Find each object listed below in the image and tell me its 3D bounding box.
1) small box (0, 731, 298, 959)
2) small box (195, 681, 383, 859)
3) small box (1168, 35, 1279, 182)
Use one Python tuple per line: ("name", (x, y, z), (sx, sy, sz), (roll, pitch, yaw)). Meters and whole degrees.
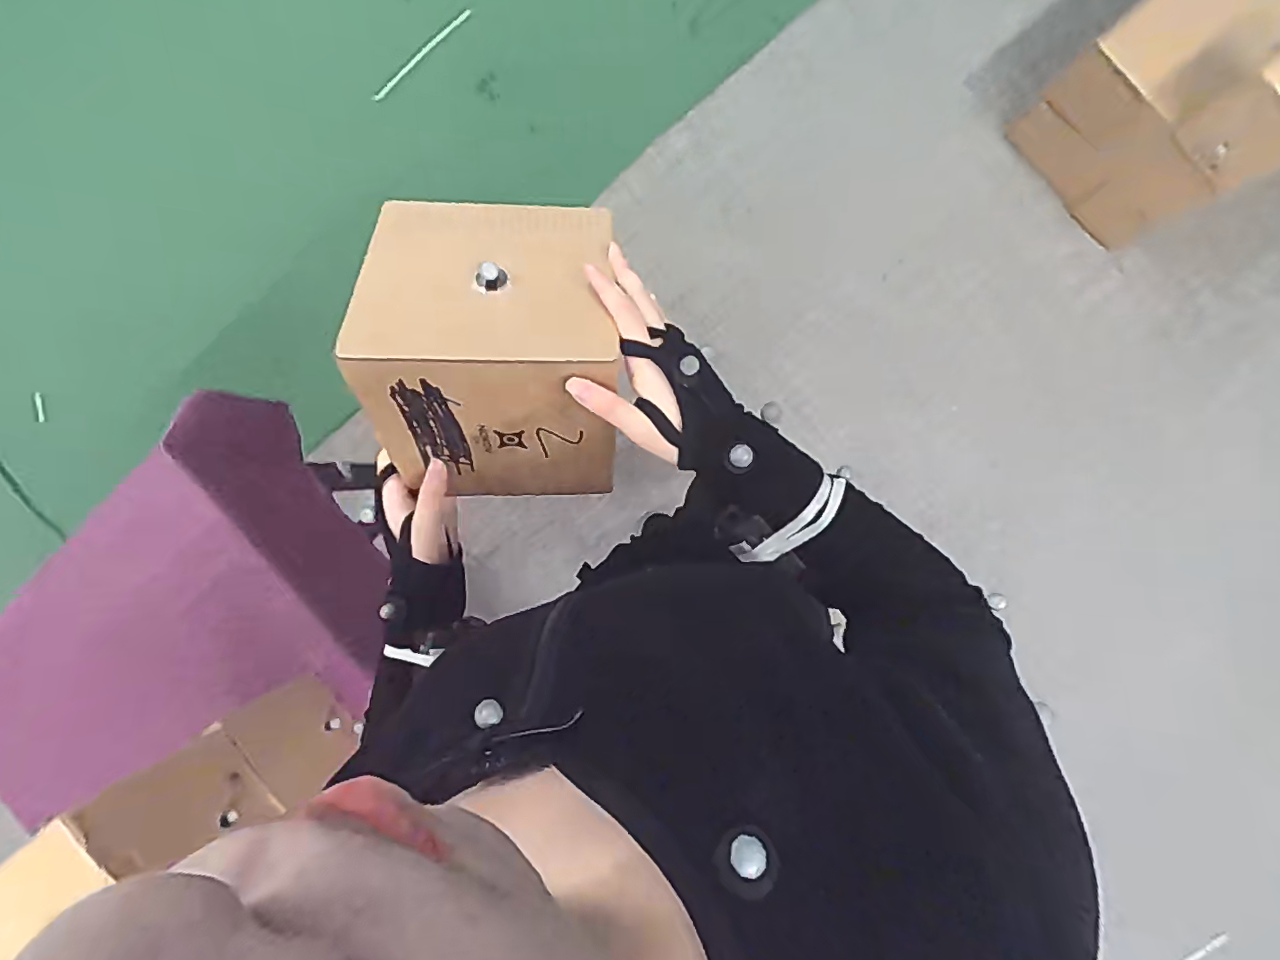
("small box", (-0.523, 0.416, 0.578), (0.179, 0.176, 0.168), (-40, 88, 4))
("small box", (-0.501, 0.403, 0.740), (0.168, 0.176, 0.179), (-41, 87, 5))
("small box", (1.151, -0.698, 0.988), (0.179, 0.176, 0.168), (-38, 88, 4))
